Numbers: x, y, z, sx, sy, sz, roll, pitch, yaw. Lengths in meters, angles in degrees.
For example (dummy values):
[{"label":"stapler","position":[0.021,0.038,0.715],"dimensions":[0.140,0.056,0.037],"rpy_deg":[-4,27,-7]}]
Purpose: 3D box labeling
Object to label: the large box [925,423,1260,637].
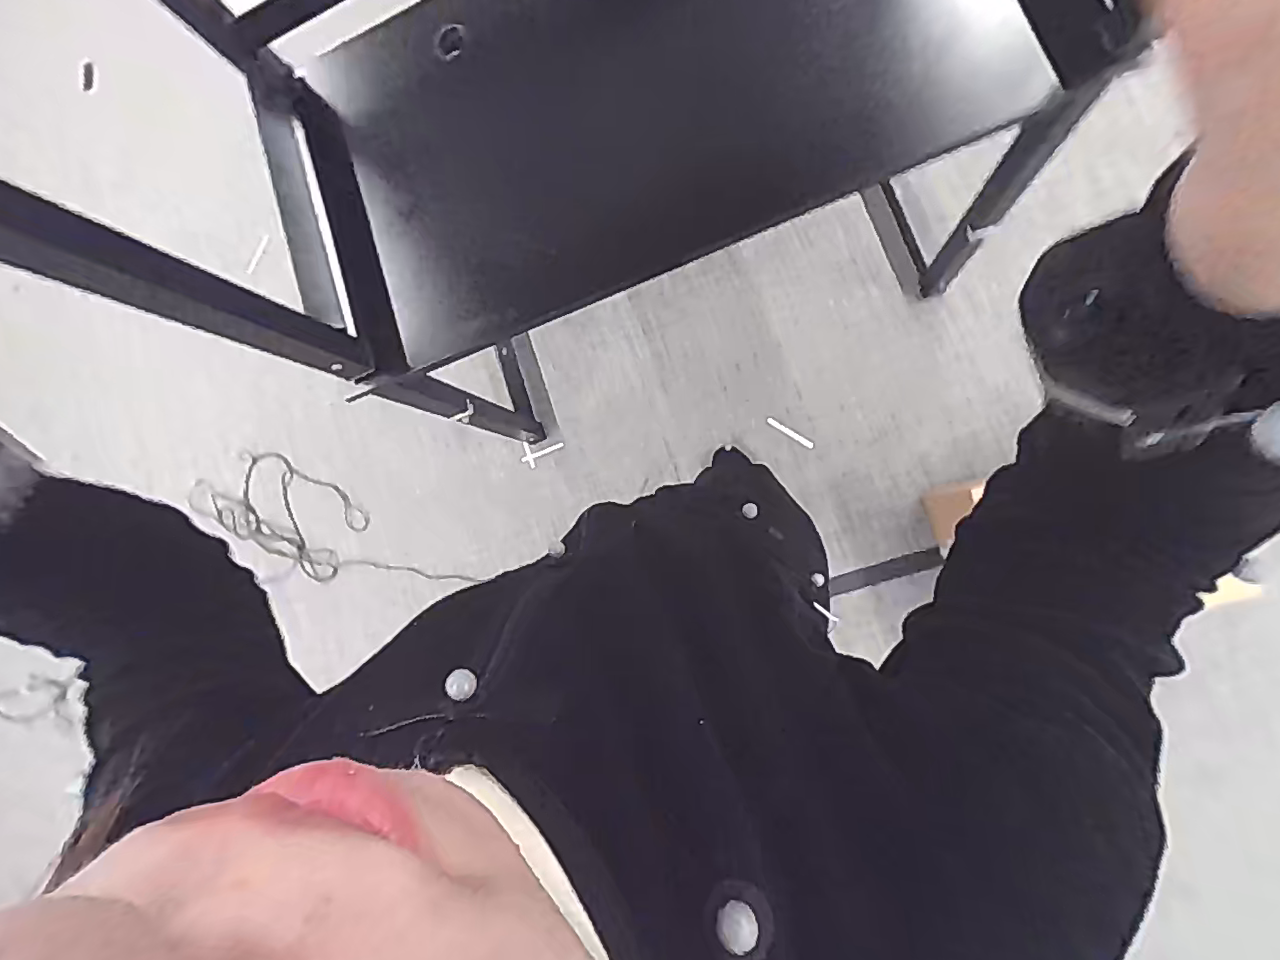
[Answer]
[{"label":"large box","position":[0.907,0.108,1.158],"dimensions":[0.408,0.320,0.320],"rpy_deg":[-17,84,10]}]
